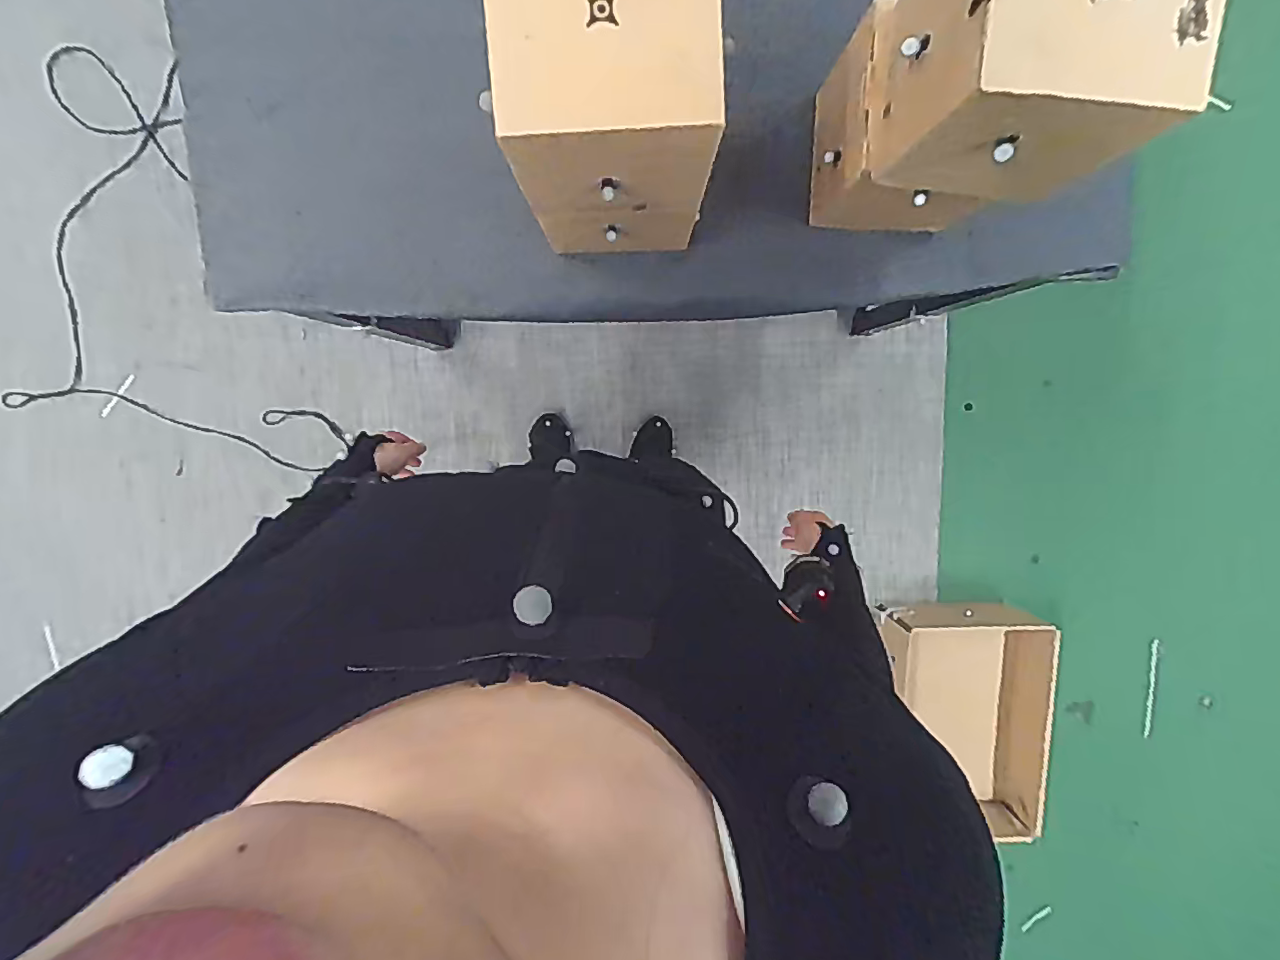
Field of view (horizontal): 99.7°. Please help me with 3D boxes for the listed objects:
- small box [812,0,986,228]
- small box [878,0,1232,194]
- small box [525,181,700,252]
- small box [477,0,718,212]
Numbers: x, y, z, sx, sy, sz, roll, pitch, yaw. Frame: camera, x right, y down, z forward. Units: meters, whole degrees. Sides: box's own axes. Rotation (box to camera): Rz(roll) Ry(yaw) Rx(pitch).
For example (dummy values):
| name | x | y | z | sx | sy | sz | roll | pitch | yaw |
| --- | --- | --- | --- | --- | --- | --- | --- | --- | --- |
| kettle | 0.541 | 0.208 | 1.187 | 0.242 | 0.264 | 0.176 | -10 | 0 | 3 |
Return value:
| name | x | y | z | sx | sy | sz | roll | pitch | yaw |
| --- | --- | --- | --- | --- | --- | --- | --- | --- | --- |
| small box | 0.308 | -0.398 | 0.612 | 0.179 | 0.176 | 0.168 | 1 | 98 | -2 |
| small box | 0.324 | -0.360 | 0.452 | 0.179 | 0.176 | 0.168 | 4 | 98 | -1 |
| small box | -0.030 | -0.365 | 0.607 | 0.179 | 0.176 | 0.168 | -2 | 97 | 1 |
| small box | -0.030 | -0.336 | 0.445 | 0.168 | 0.176 | 0.179 | -3 | 97 | -1 |
